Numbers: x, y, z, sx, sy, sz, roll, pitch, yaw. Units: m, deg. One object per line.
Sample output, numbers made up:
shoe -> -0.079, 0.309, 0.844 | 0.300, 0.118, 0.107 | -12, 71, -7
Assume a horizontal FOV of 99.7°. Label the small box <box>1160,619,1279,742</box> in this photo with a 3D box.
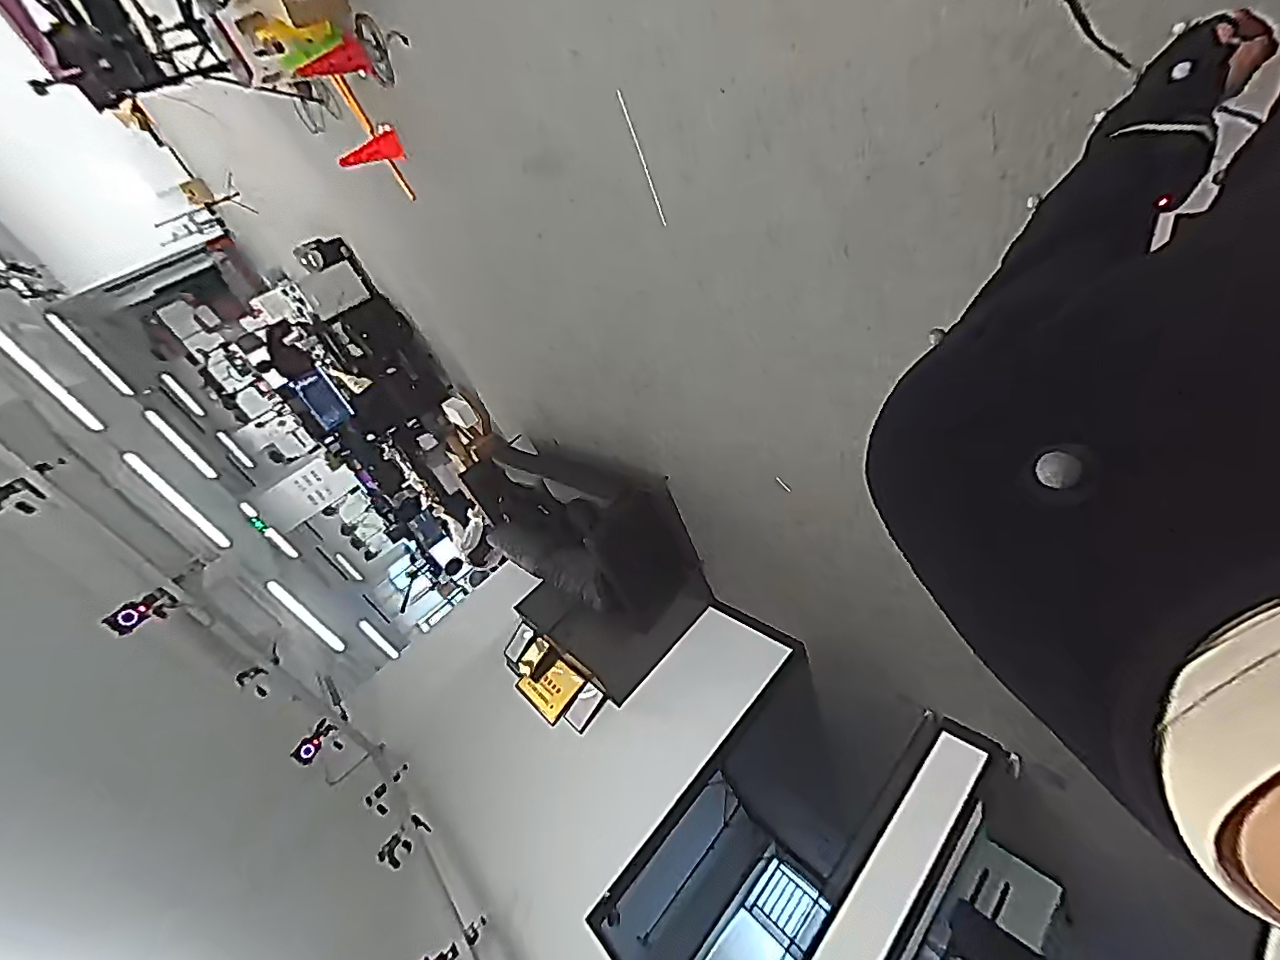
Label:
small box -> 1.362, 0.459, 1.260 | 0.168, 0.176, 0.179 | 22, 145, 45
